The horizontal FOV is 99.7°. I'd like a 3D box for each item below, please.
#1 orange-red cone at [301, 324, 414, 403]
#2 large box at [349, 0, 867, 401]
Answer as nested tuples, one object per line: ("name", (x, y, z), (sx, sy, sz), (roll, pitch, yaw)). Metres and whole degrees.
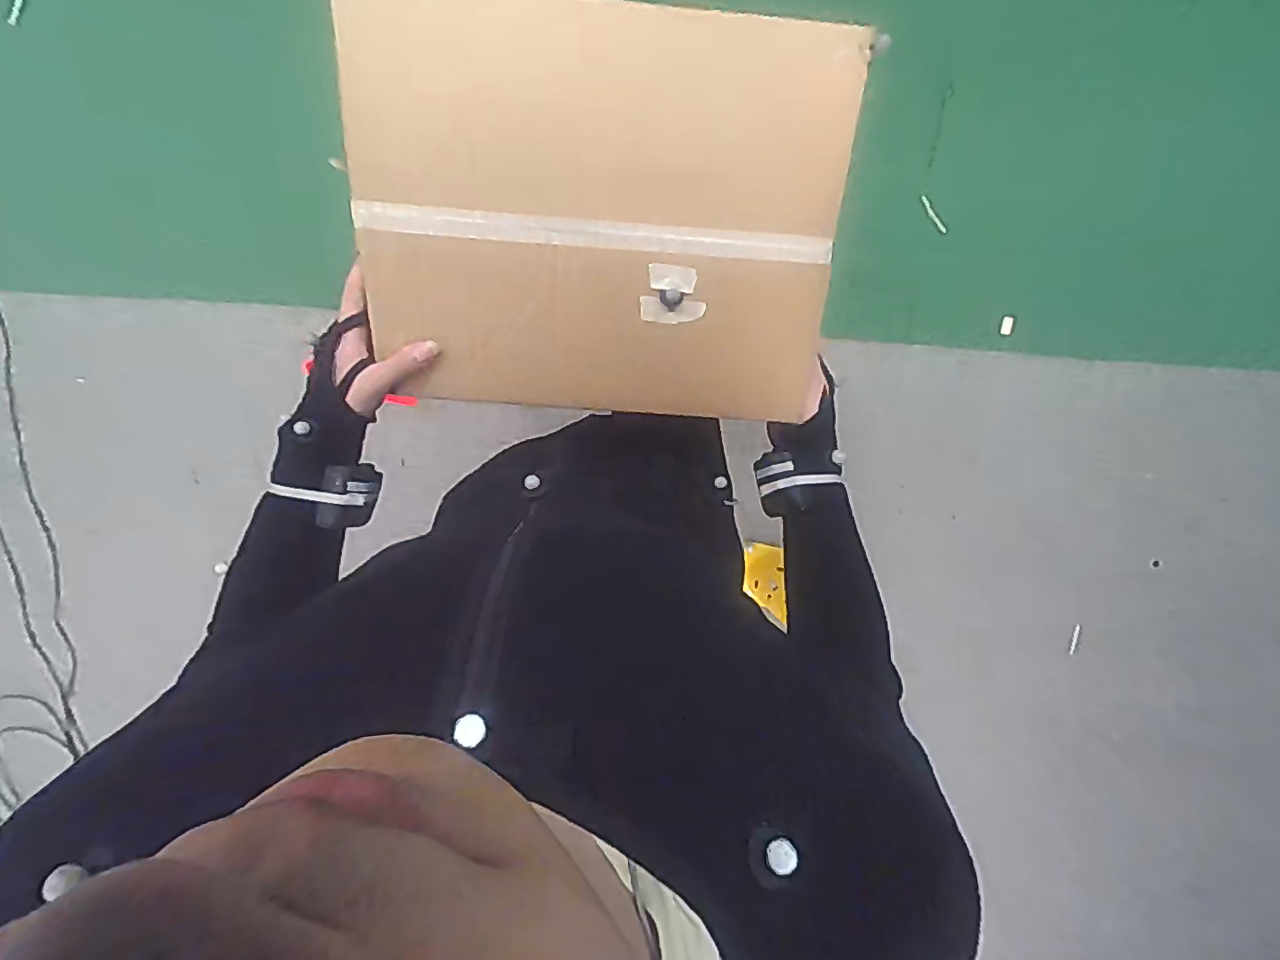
("orange-red cone", (-0.732, -0.294, 1.365), (0.199, 0.360, 0.198), (11, 101, -1))
("large box", (-0.036, -0.285, 0.604), (0.408, 0.320, 0.320), (3, 114, -4))
